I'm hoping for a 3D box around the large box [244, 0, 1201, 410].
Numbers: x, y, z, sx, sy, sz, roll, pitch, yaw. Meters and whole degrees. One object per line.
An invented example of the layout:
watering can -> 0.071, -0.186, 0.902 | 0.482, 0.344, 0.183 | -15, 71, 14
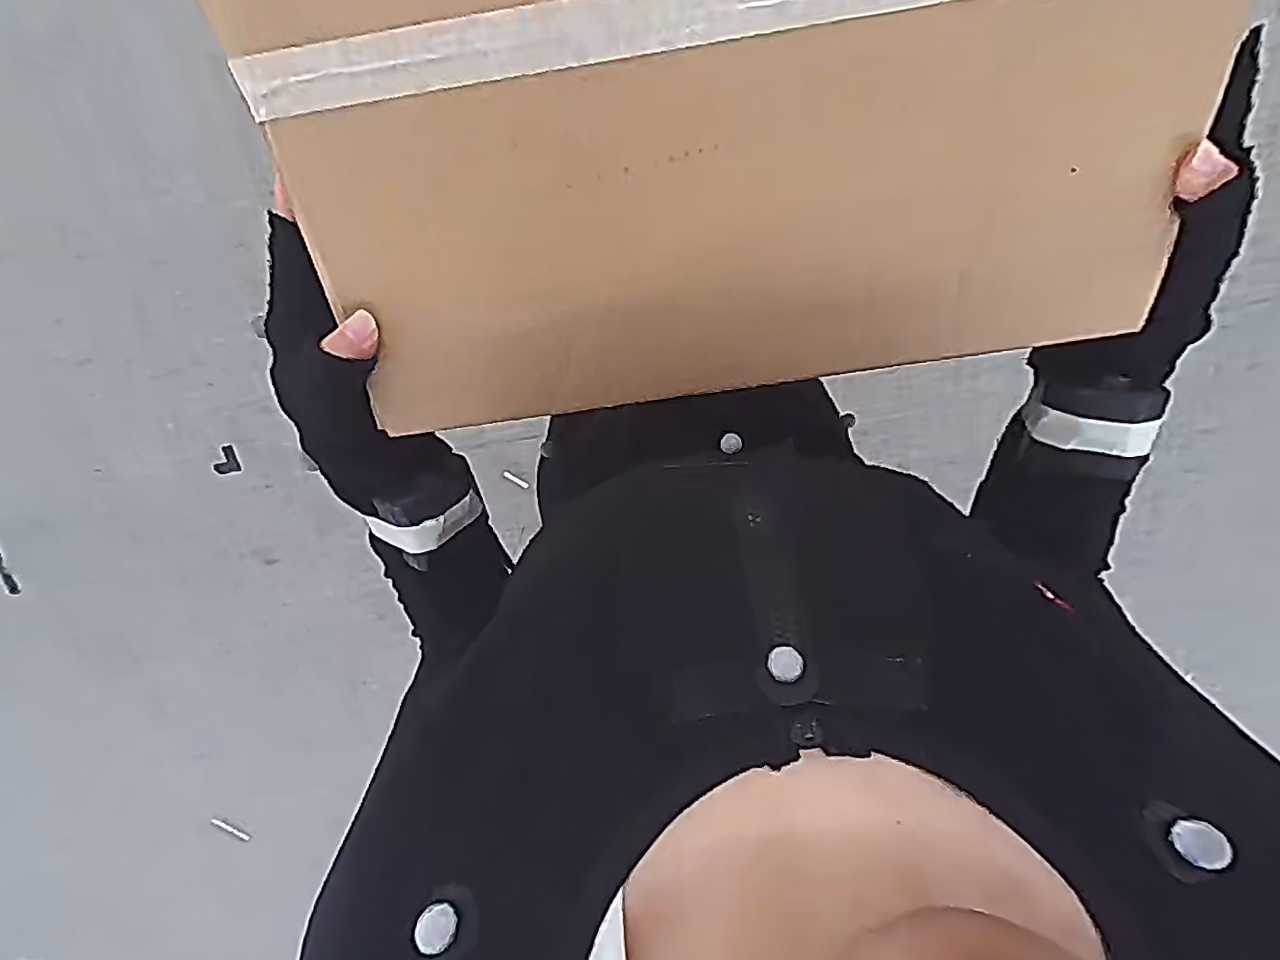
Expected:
large box -> 0.031, -0.270, 0.357 | 0.408, 0.320, 0.320 | -8, 120, 2
